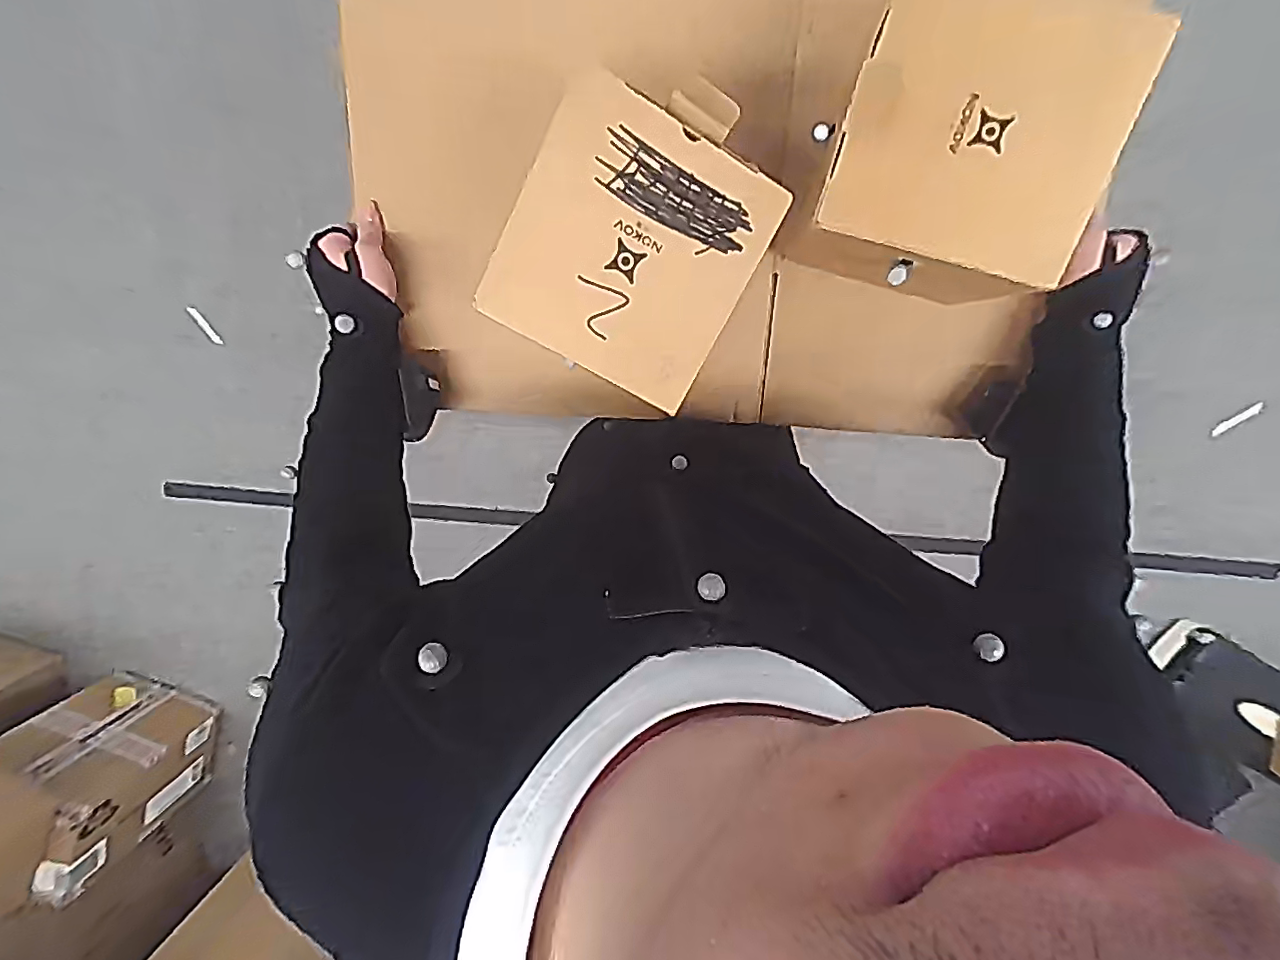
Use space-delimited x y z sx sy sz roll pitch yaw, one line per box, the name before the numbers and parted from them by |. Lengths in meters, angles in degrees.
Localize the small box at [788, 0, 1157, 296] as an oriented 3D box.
small box | 0.239 -0.259 0.449 0.179 0.176 0.168 17 106 4
